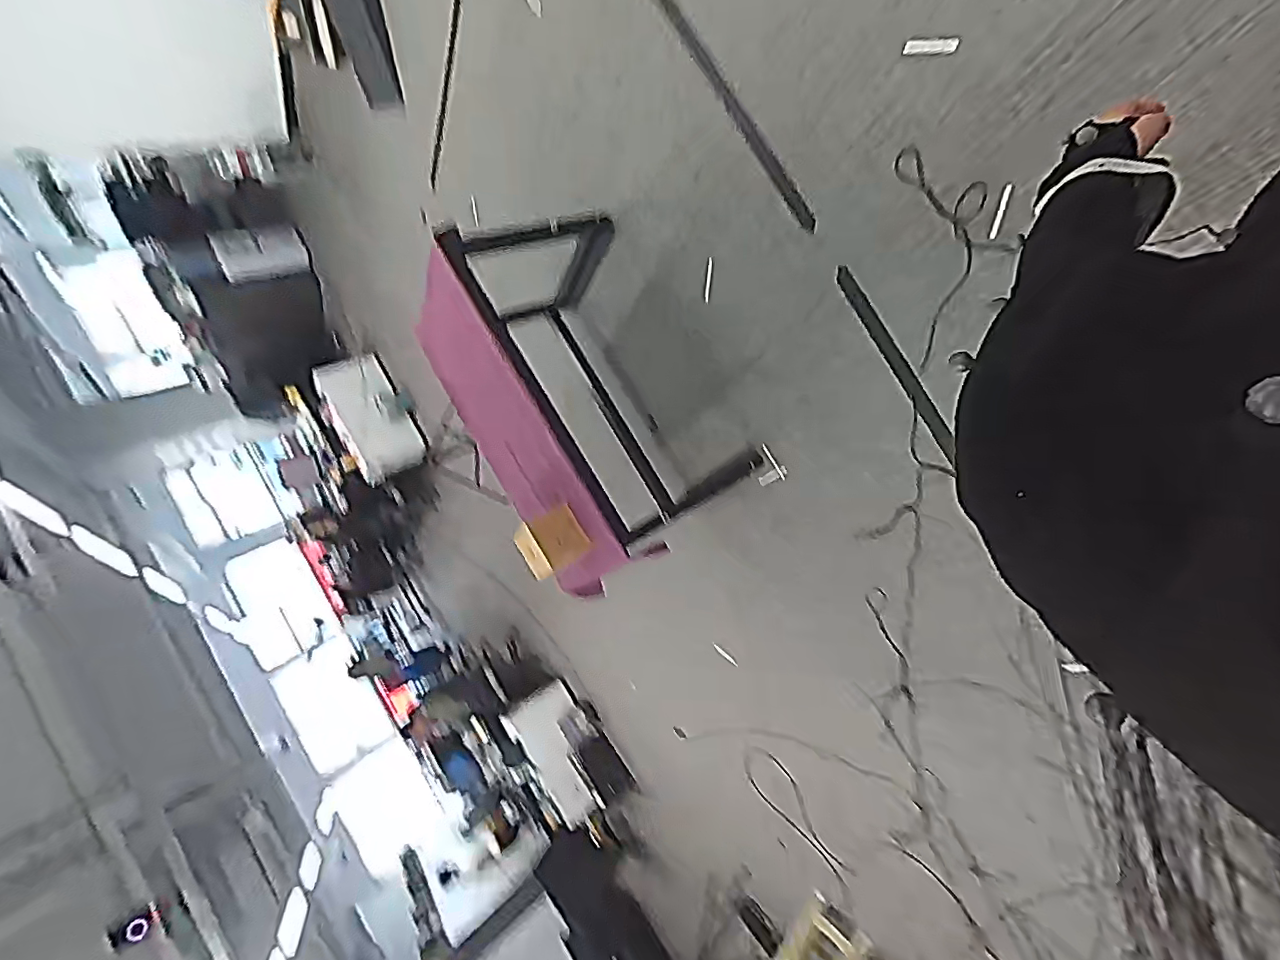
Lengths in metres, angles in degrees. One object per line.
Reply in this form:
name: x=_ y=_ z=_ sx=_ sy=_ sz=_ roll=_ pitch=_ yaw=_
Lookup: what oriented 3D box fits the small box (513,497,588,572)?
small box: x=-0.299 y=0.180 z=1.819 sx=0.168 sy=0.176 sz=0.179 roll=57 pitch=147 yaw=7
